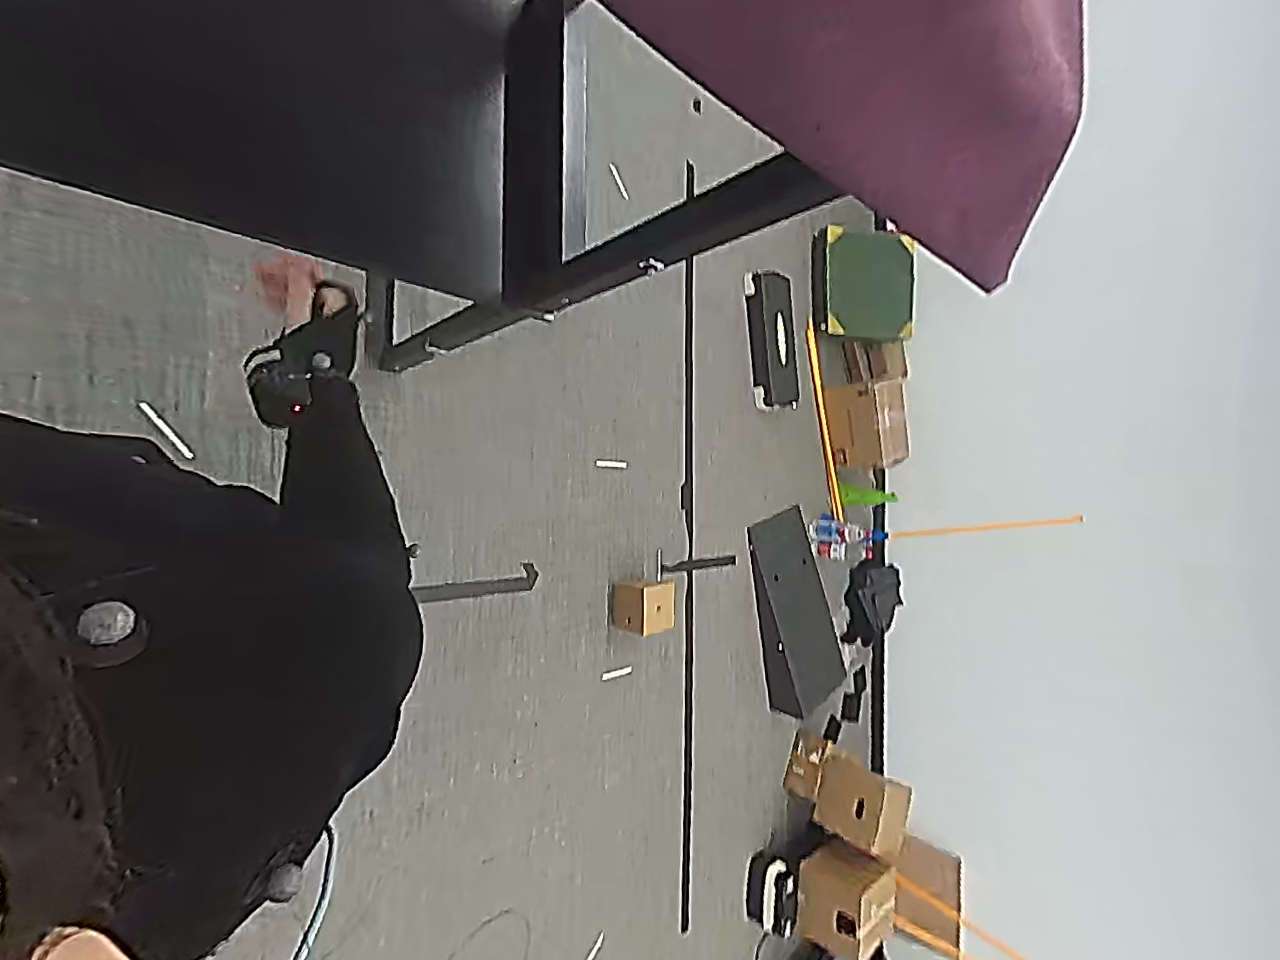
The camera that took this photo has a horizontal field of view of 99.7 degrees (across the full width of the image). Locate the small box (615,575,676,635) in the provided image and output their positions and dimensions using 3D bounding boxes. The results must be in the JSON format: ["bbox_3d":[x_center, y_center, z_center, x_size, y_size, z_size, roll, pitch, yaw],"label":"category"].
[{"bbox_3d":[0.018,0.467,2.042,0.168,0.176,0.179,0,90,-44],"label":"small box"}]
